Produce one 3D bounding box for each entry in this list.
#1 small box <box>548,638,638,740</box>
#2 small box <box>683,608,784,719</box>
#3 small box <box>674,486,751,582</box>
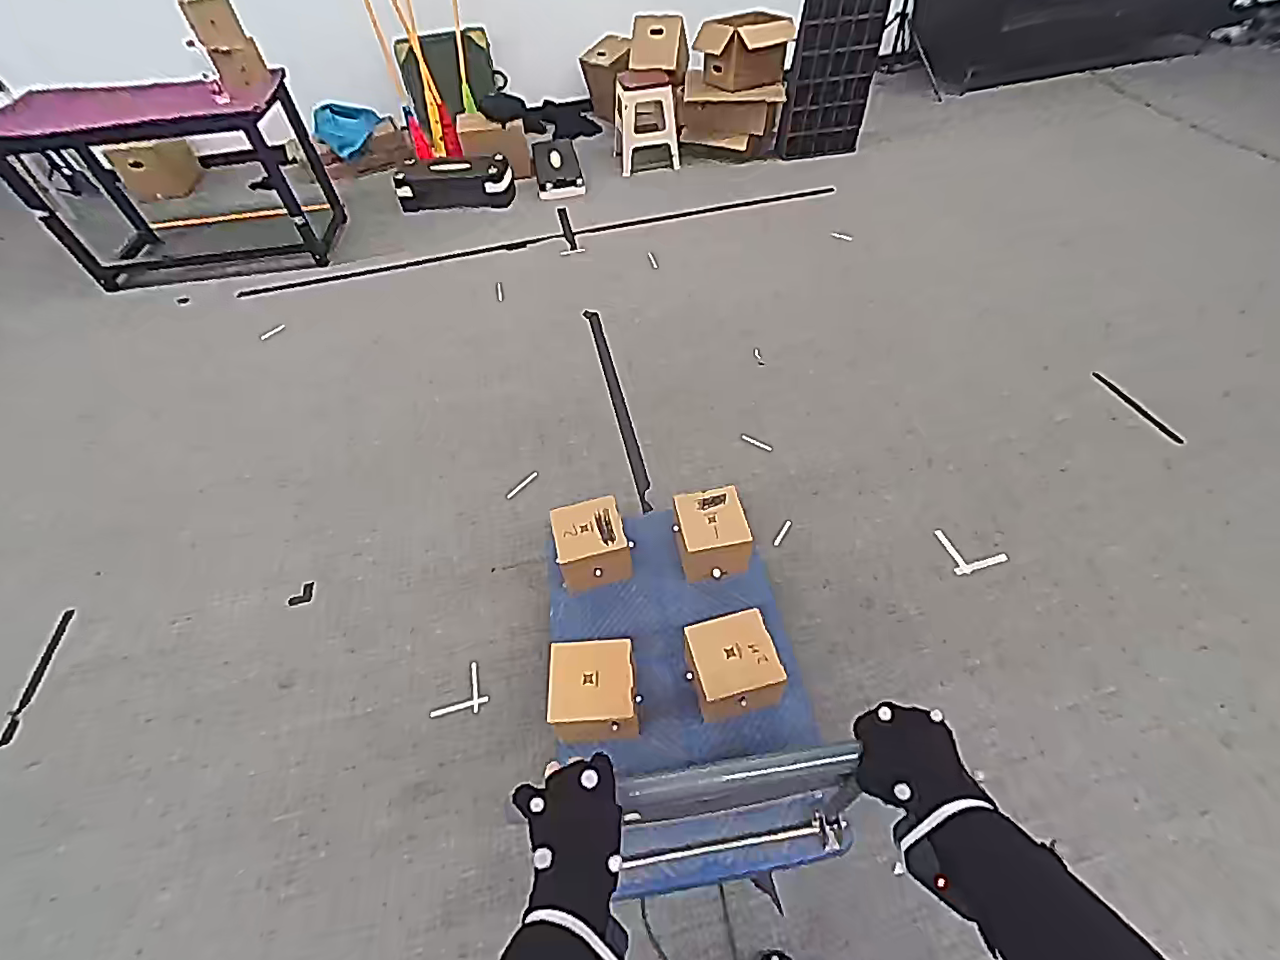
[{"bbox_3d":[-0.099,0.467,1.200,0.179,0.176,0.168,-4,51,0],"label":"small box"},{"bbox_3d":[0.203,0.416,1.215,0.179,0.176,0.168,-13,52,-6],"label":"small box"},{"bbox_3d":[0.184,0.145,1.434,0.168,0.176,0.179,-10,52,-3],"label":"small box"}]
